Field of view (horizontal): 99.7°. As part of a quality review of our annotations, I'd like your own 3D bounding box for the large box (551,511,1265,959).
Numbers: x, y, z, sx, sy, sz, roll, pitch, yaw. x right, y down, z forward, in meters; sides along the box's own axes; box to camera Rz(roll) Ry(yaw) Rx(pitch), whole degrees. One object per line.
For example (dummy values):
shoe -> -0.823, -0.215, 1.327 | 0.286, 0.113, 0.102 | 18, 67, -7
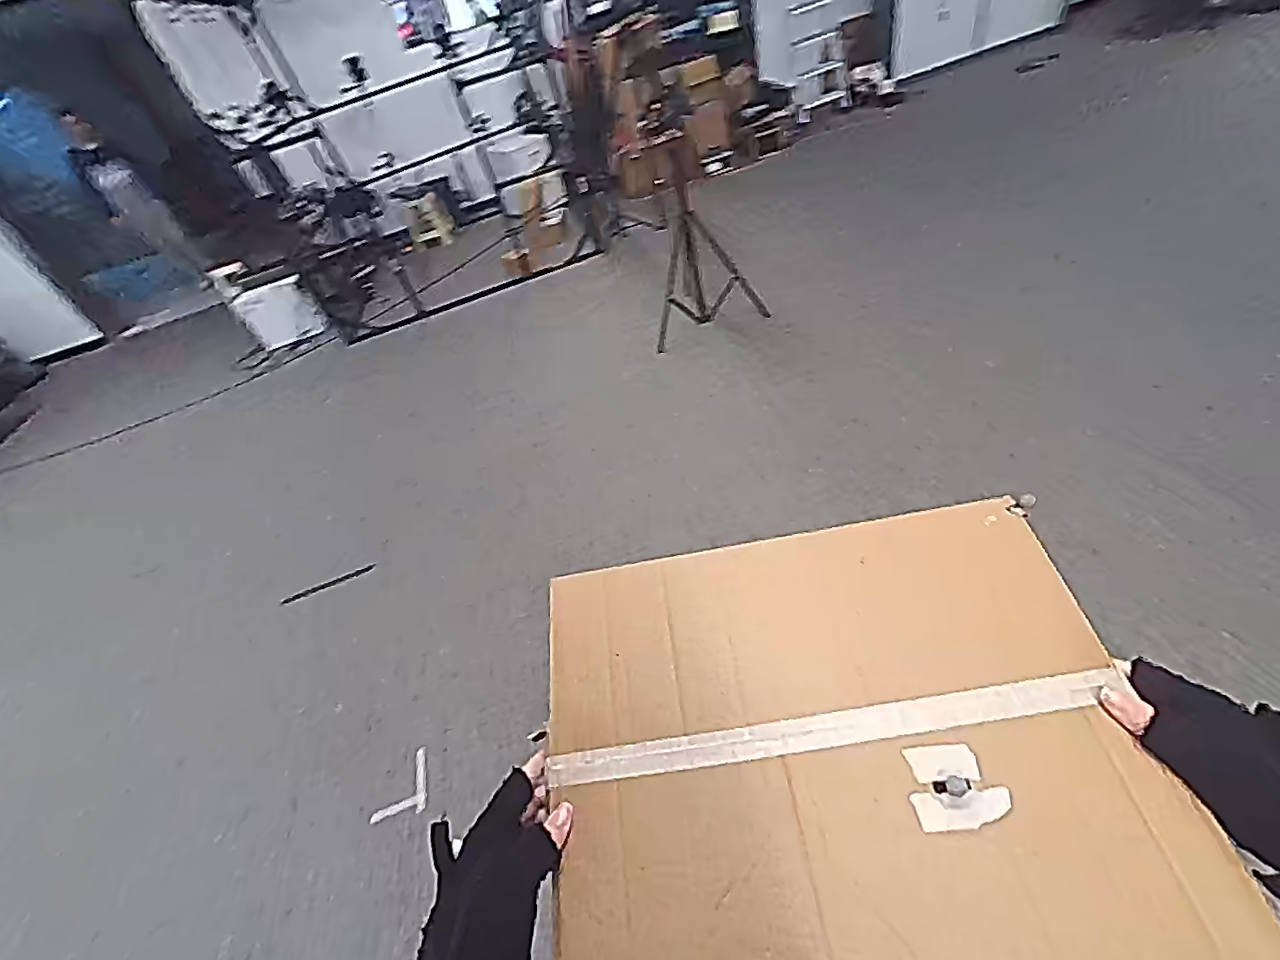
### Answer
large box -> 0.155, 0.275, 0.512 | 0.408, 0.320, 0.320 | -12, 54, 3
